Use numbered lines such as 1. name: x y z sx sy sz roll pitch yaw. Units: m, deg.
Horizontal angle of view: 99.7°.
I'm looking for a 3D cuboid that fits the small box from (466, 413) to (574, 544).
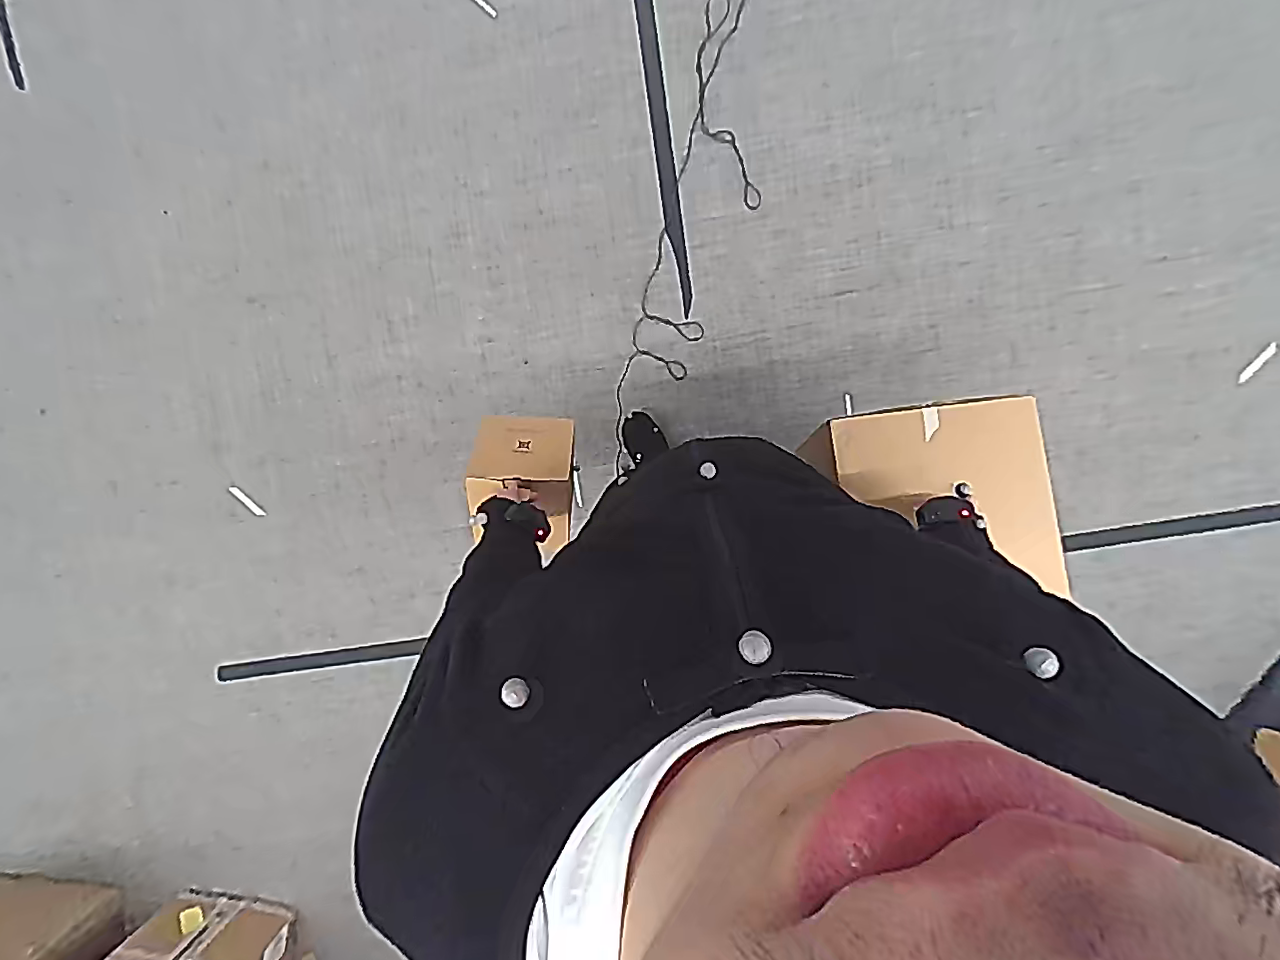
1. small box: -0.209 0.000 0.985 0.168 0.179 0.176 3 132 -6
